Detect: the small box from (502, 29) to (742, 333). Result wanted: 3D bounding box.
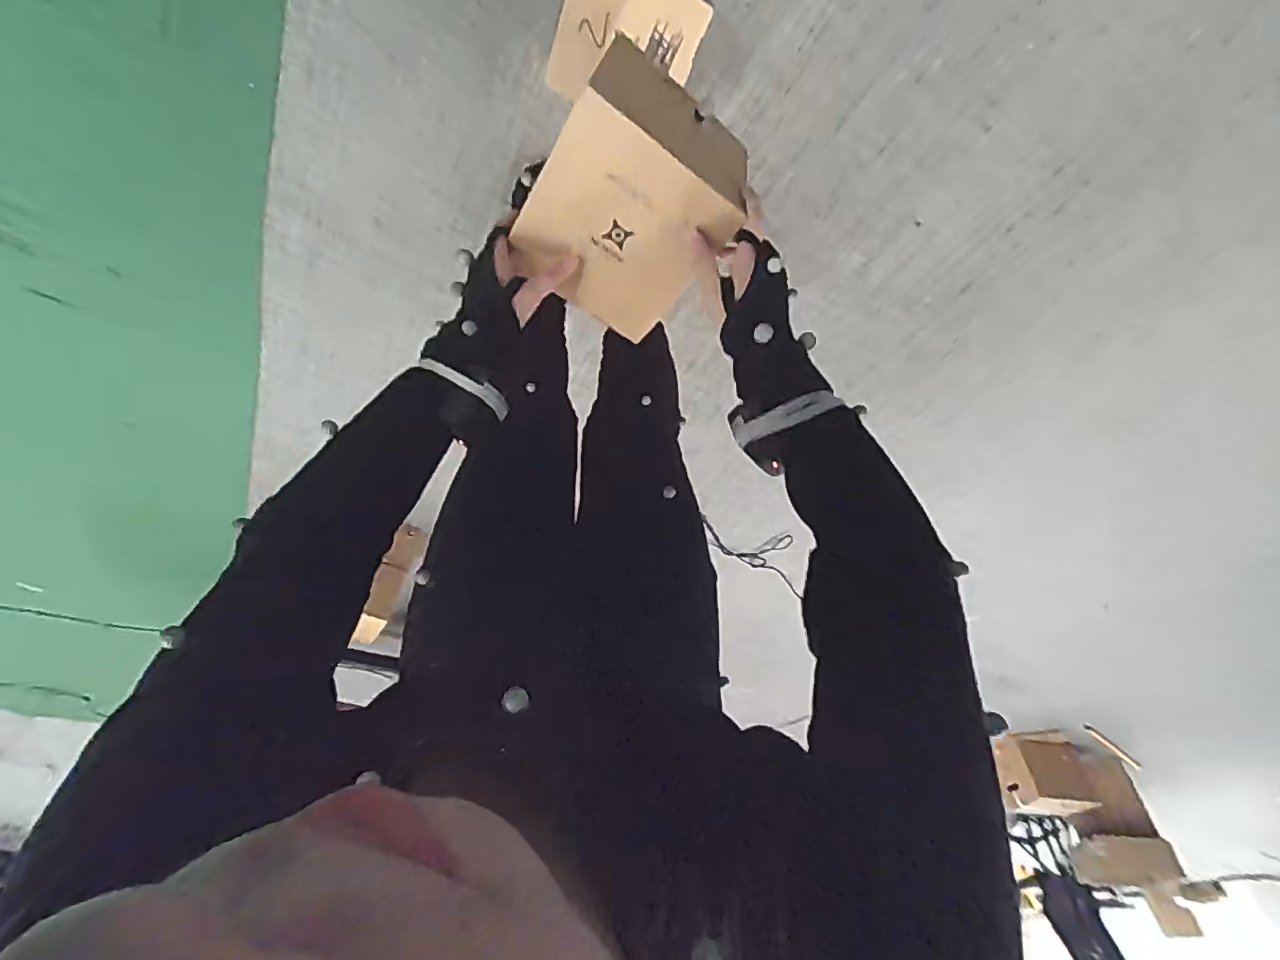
[{"bbox_3d":[-0.011,-0.294,0.547,0.168,0.176,0.179,28,138,-24],"label":"small box"}]

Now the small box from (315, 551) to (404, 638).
[{"bbox_3d":[-0.815,0.335,1.585,0.168,0.176,0.179,26,131,-25],"label":"small box"}]

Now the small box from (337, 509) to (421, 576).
[{"bbox_3d":[-0.814,0.218,1.701,0.168,0.176,0.179,30,132,-28],"label":"small box"}]
